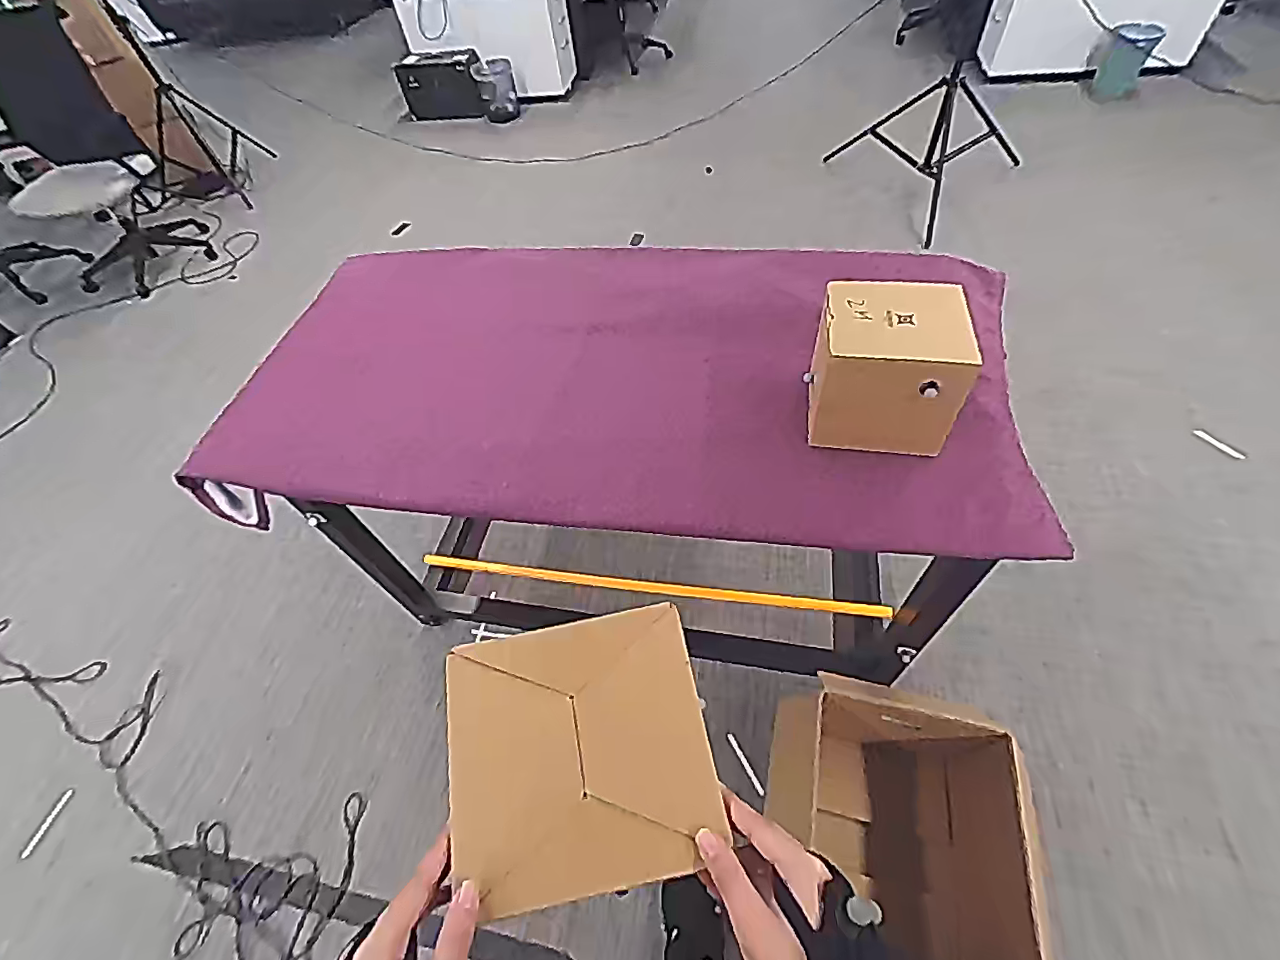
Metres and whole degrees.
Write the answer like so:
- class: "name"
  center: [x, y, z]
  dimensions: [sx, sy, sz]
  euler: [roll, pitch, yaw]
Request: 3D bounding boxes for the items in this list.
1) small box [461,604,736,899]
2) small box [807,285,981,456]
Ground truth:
- class: "small box"
  center: [-0.036, 0.215, 0.438]
  dimensions: [0.179, 0.176, 0.168]
  euler: [-10, 59, -5]
- class: "small box"
  center: [0.342, -0.151, 0.762]
  dimensions: [0.179, 0.176, 0.168]
  euler: [6, 52, 11]
